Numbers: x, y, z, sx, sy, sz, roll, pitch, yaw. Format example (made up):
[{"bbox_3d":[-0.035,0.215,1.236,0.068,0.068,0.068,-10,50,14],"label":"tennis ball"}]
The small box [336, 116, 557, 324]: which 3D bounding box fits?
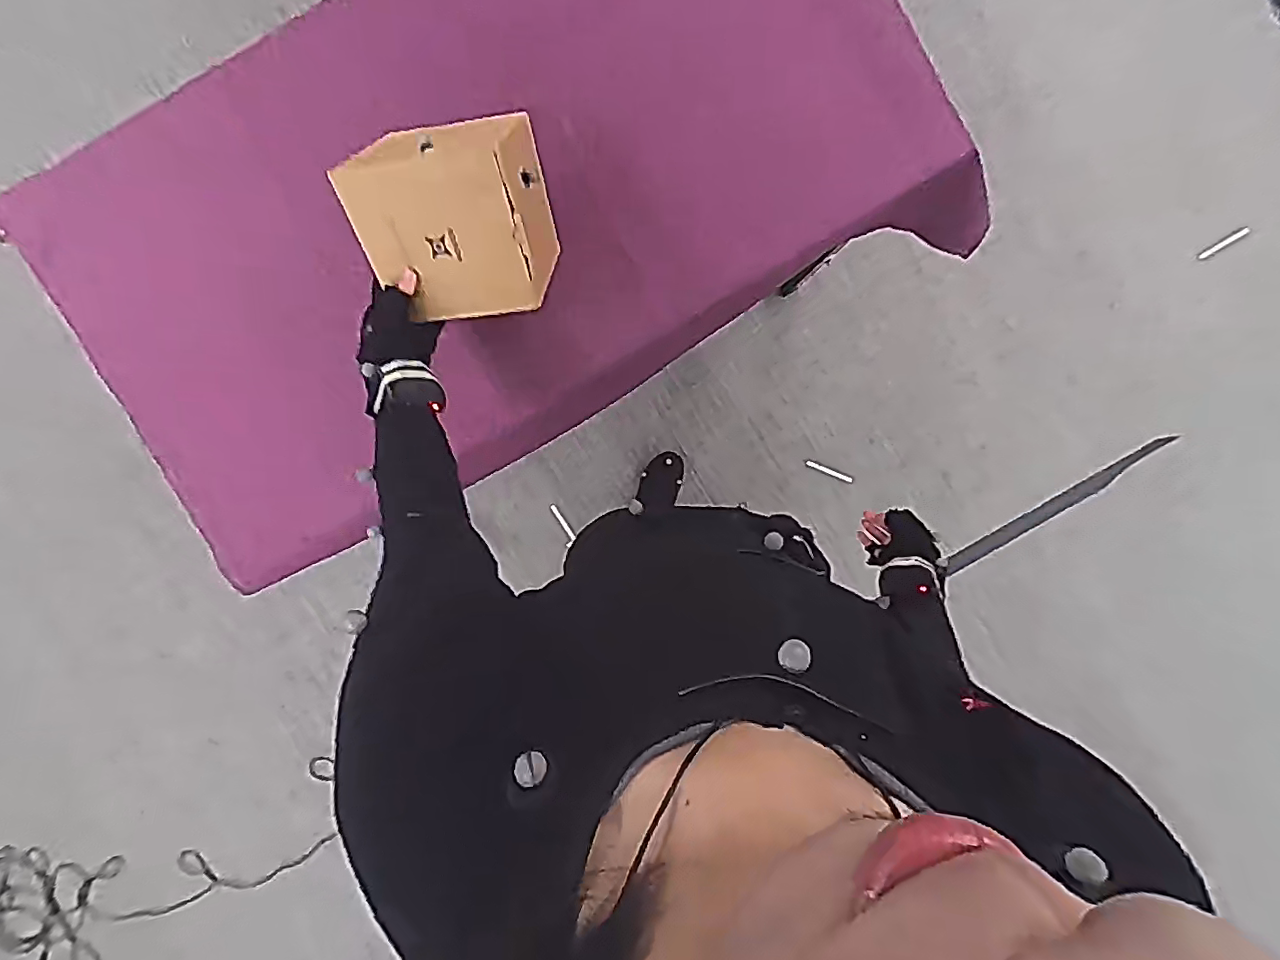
[{"bbox_3d":[-0.204,-0.306,0.636,0.179,0.176,0.168,-4,134,9],"label":"small box"}]
